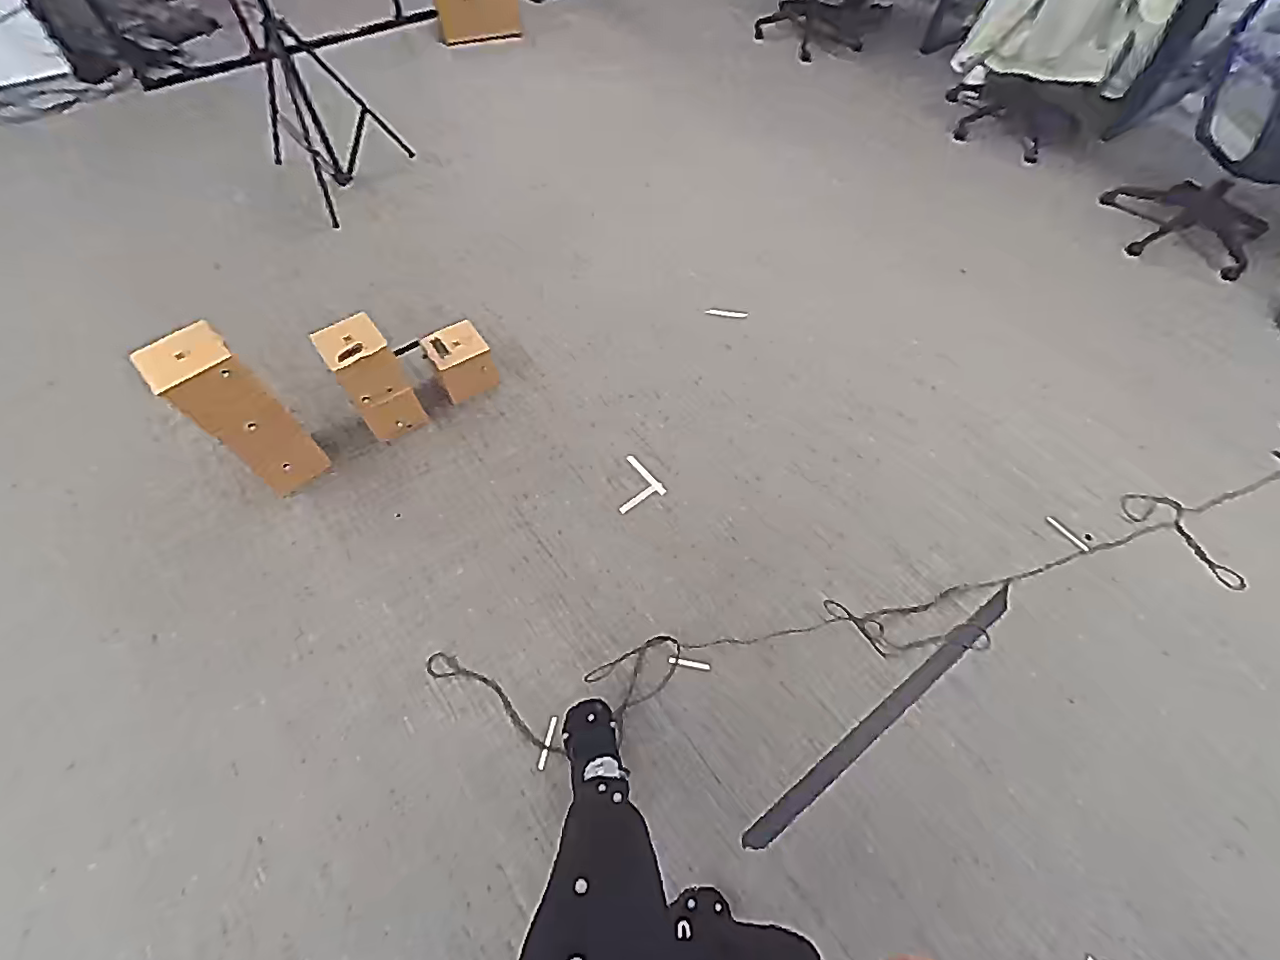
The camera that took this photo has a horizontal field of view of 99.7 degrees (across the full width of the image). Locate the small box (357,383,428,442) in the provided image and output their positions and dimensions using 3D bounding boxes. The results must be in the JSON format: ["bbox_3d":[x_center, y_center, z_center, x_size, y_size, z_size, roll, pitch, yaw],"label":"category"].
[{"bbox_3d":[-0.805,-0.256,1.723,0.168,0.176,0.179,-30,65,-17],"label":"small box"}]

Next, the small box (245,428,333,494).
[{"bbox_3d":[-1.068,-0.089,1.618,0.168,0.176,0.179,41,67,19],"label":"small box"}]

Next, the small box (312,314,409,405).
[{"bbox_3d":[-0.810,-0.345,1.584,0.168,0.176,0.179,-33,65,-19],"label":"small box"}]

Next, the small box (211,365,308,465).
[{"bbox_3d":[-1.063,-0.173,1.479,0.179,0.176,0.168,-39,69,-23],"label":"small box"}]

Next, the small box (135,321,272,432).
[{"bbox_3d":[-1.066,-0.250,1.335,0.179,0.176,0.168,-40,69,-22],"label":"small box"}]
